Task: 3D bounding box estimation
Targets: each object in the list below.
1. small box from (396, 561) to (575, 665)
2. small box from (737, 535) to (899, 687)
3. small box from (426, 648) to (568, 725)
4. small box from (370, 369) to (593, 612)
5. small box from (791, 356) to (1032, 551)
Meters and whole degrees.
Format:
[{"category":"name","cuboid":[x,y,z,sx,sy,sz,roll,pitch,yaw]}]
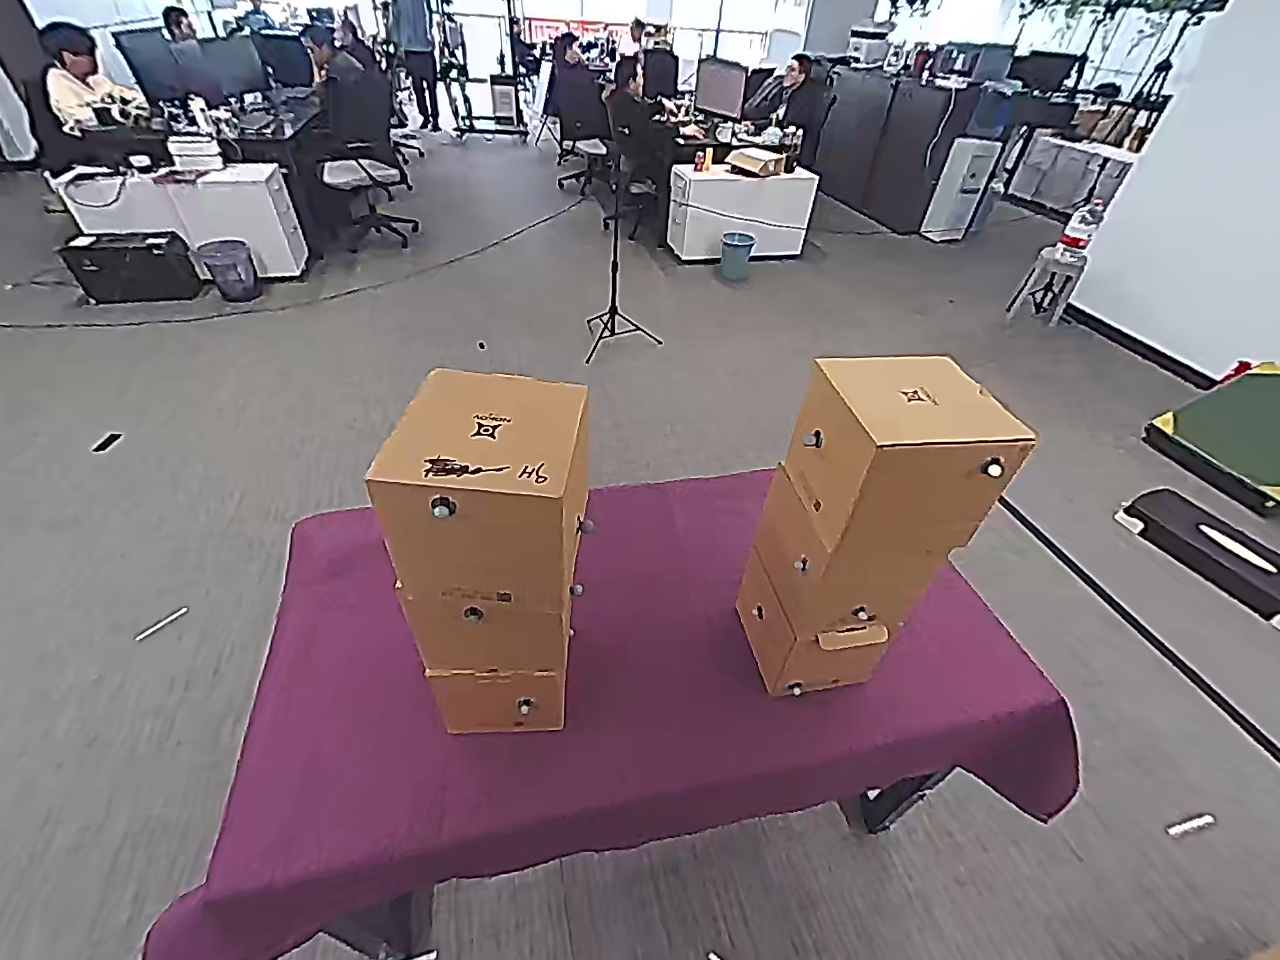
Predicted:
[{"category":"small box","cuboid":[-0.176,0.117,0.678,0.179,0.176,0.168,3,43,-4]},{"category":"small box","cuboid":[0.267,0.209,0.857,0.168,0.176,0.179,-5,42,-10]},{"category":"small box","cuboid":[-0.191,0.240,0.786,0.168,0.176,0.179,1,42,-5]},{"category":"small box","cuboid":[-0.144,0.009,0.557,0.168,0.176,0.179,6,42,0]},{"category":"small box","cuboid":[0.292,-0.030,0.637,0.179,0.176,0.168,-3,43,-8]}]
